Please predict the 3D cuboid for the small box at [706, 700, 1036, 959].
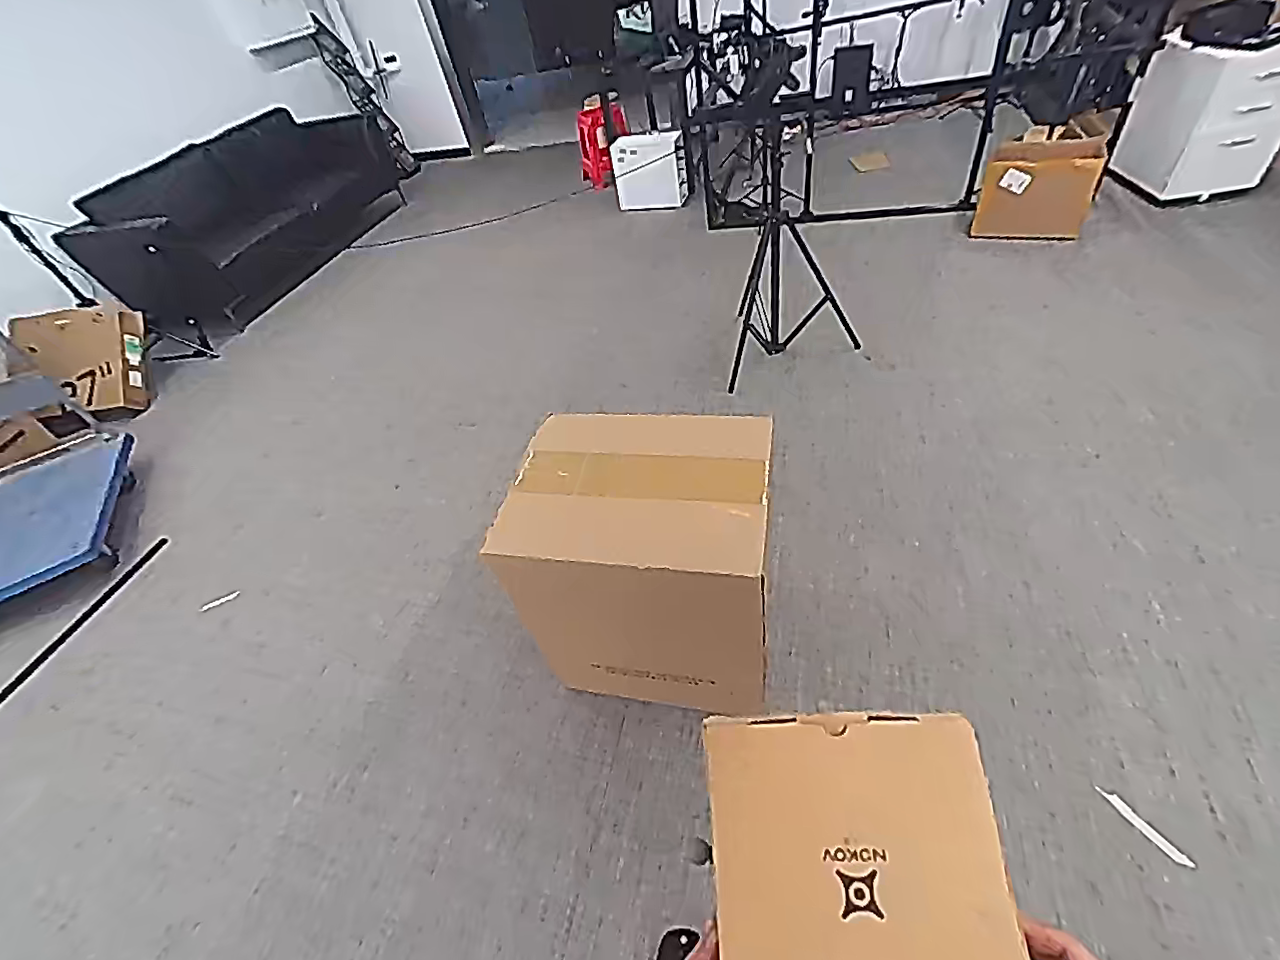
[{"bbox_3d":[0.137,0.252,0.381,0.168,0.176,0.179,-5,65,6],"label":"small box"}]
